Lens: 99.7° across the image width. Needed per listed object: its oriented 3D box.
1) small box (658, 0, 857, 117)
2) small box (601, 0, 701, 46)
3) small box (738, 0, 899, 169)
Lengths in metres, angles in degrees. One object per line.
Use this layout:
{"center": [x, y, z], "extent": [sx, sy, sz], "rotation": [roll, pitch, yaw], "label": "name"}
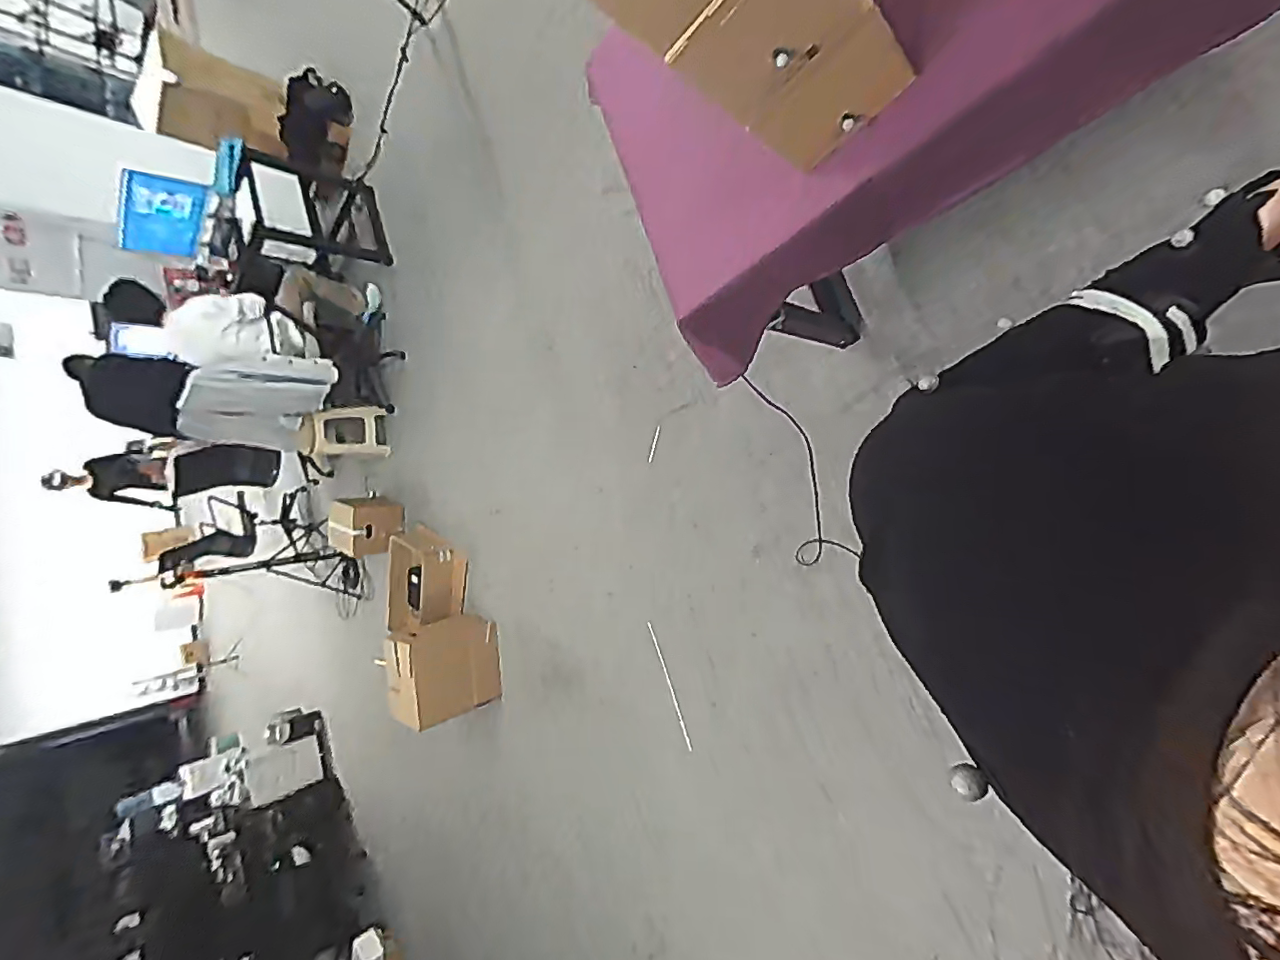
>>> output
{"center": [0.111, -0.560, 0.603], "extent": [0.168, 0.176, 0.179], "rotation": [-27, 76, 41], "label": "small box"}
{"center": [0.005, -0.551, 0.478], "extent": [0.179, 0.176, 0.168], "rotation": [-25, 78, 40], "label": "small box"}
{"center": [0.223, -0.567, 0.725], "extent": [0.179, 0.176, 0.168], "rotation": [-29, 75, 39], "label": "small box"}
